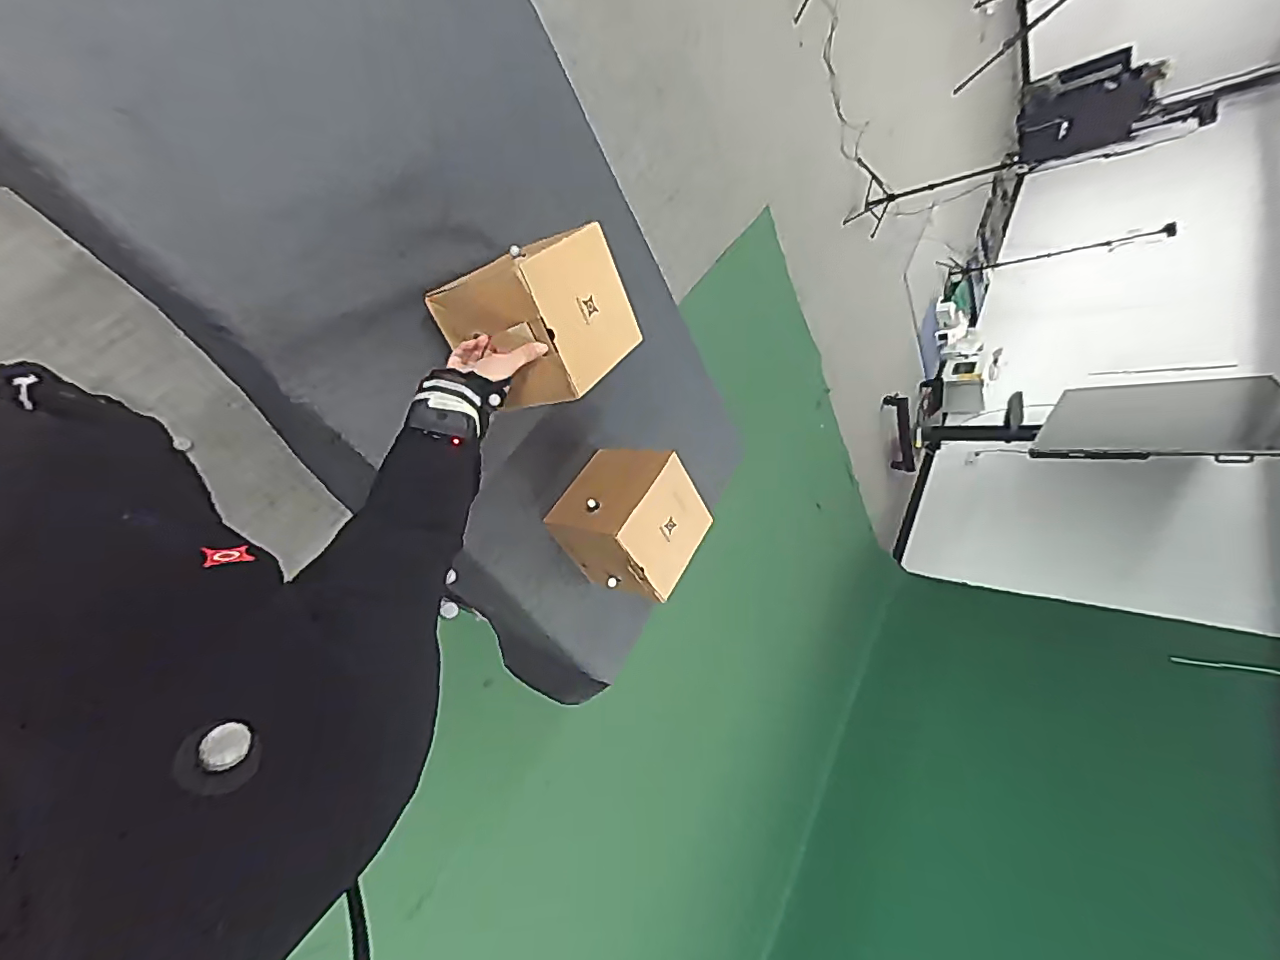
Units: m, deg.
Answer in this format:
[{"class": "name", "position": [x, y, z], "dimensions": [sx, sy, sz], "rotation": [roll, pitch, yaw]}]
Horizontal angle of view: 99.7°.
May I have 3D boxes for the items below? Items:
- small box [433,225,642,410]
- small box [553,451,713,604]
[{"class": "small box", "position": [-0.127, -0.207, 0.704], "dimensions": [0.179, 0.176, 0.168], "rotation": [-54, 131, -42]}, {"class": "small box", "position": [-0.015, 0.070, 0.873], "dimensions": [0.179, 0.176, 0.168], "rotation": [-57, 132, -30]}]
